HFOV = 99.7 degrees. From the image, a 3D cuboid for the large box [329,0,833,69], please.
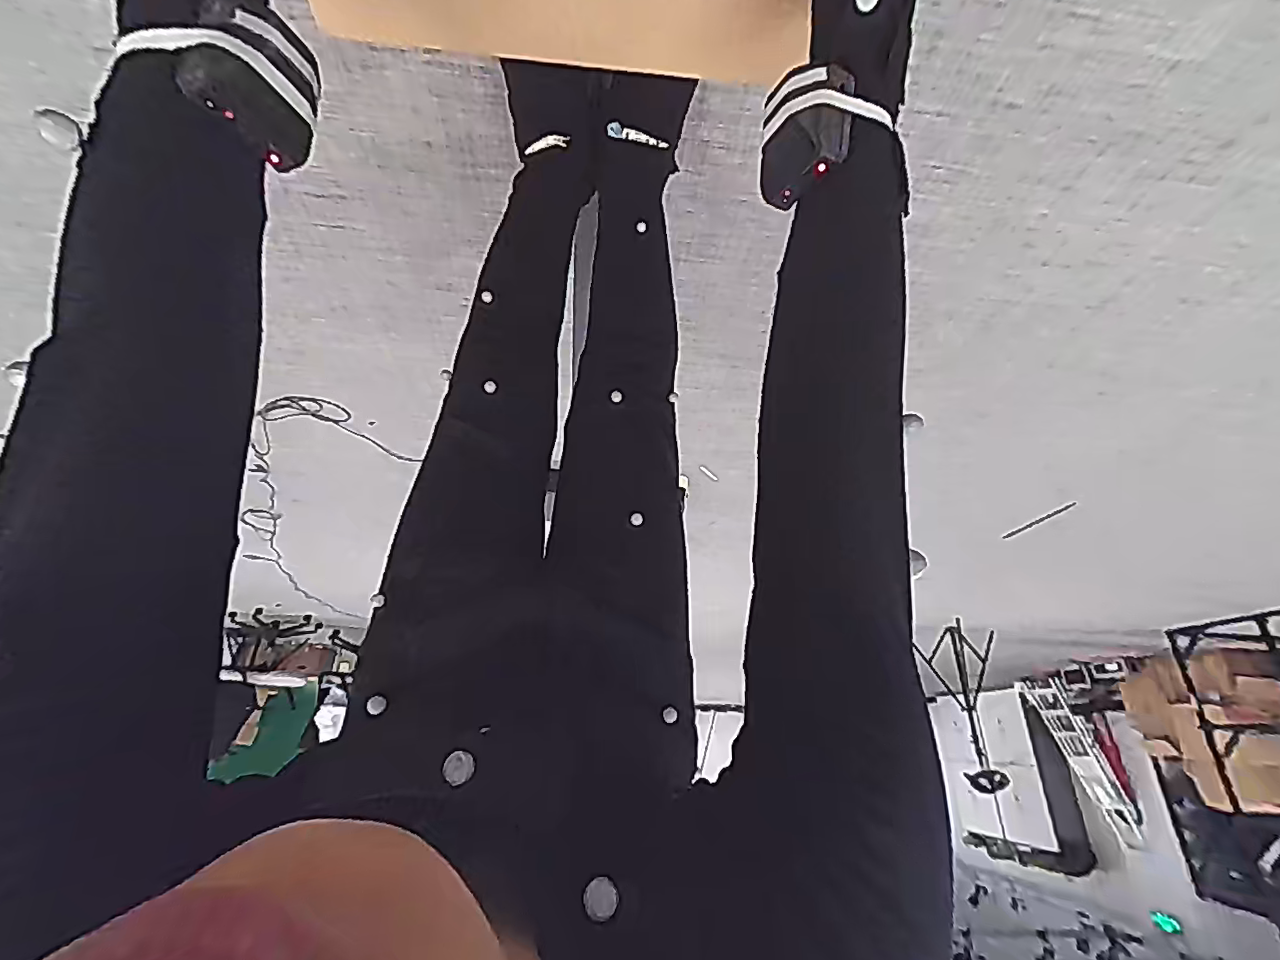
[{"bbox_3d":[-0.039,-0.563,0.392,0.408,0.320,0.320,3,152,-4],"label":"large box"}]
